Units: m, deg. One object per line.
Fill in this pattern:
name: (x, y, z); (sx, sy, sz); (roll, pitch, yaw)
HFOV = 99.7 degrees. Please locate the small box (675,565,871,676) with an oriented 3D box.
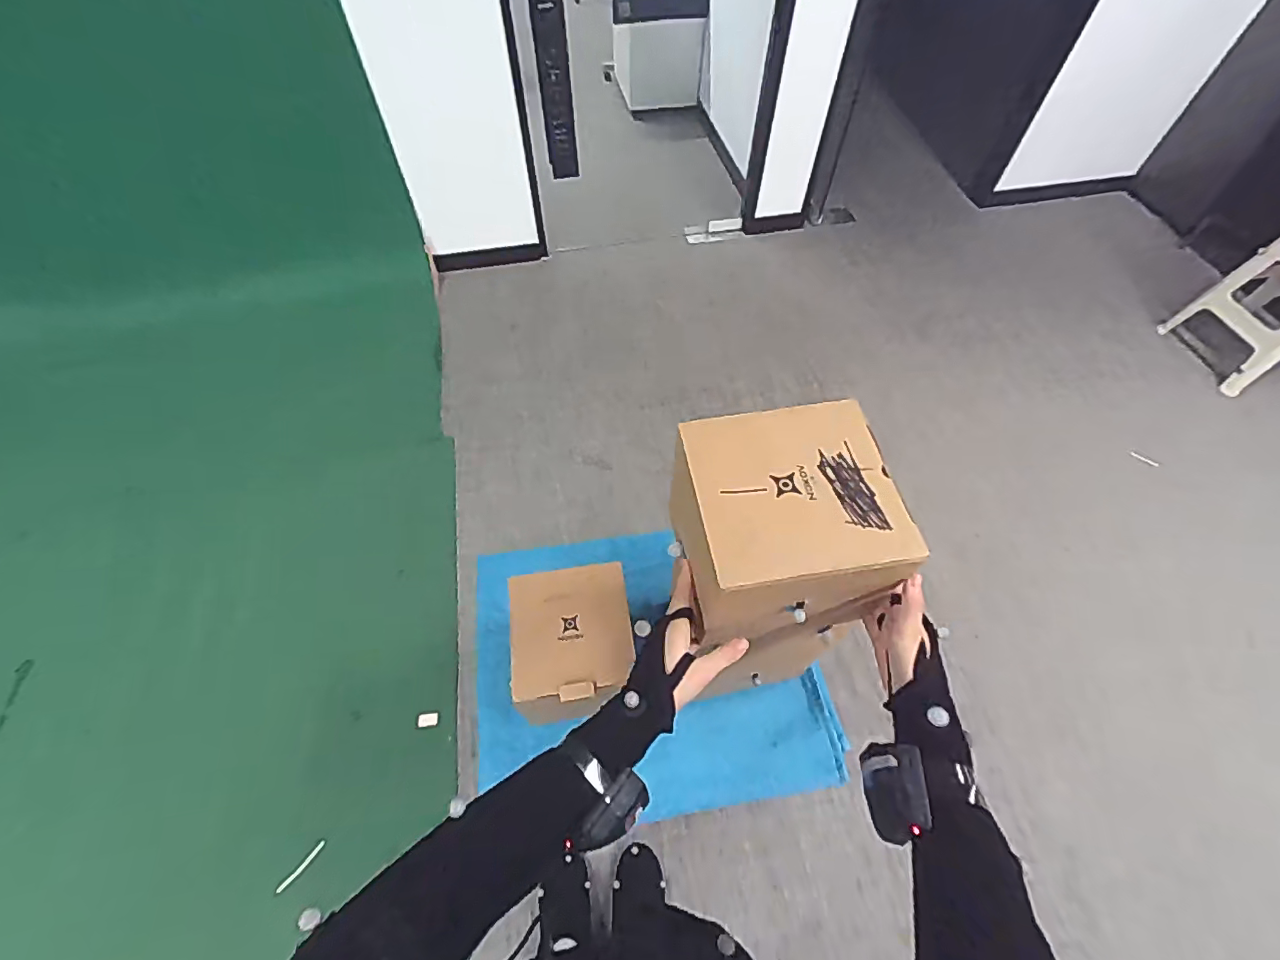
small box: (0.149, 0.130, 0.676); (0.179, 0.176, 0.168); (-10, 56, -6)

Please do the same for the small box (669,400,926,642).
small box: (0.129, 0.045, 0.525); (0.179, 0.176, 0.168); (-8, 58, -4)

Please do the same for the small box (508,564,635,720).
small box: (-0.098, 0.245, 0.796); (0.168, 0.176, 0.179); (-6, 56, -6)
